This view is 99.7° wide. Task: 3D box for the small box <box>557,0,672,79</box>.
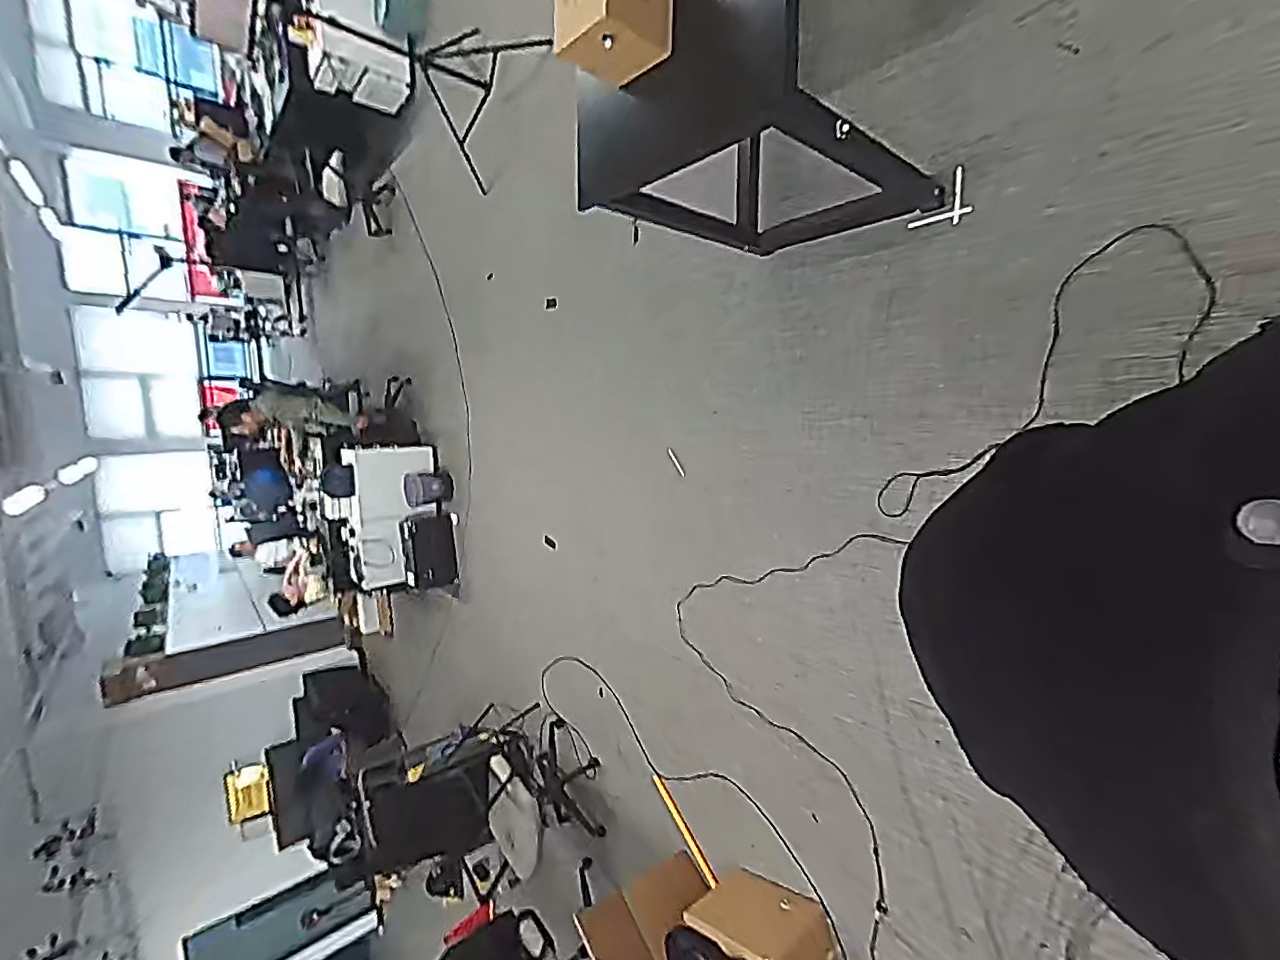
[{"bbox_3d":[-0.048,-0.941,1.067,0.179,0.176,0.168,14,105,49],"label":"small box"}]
